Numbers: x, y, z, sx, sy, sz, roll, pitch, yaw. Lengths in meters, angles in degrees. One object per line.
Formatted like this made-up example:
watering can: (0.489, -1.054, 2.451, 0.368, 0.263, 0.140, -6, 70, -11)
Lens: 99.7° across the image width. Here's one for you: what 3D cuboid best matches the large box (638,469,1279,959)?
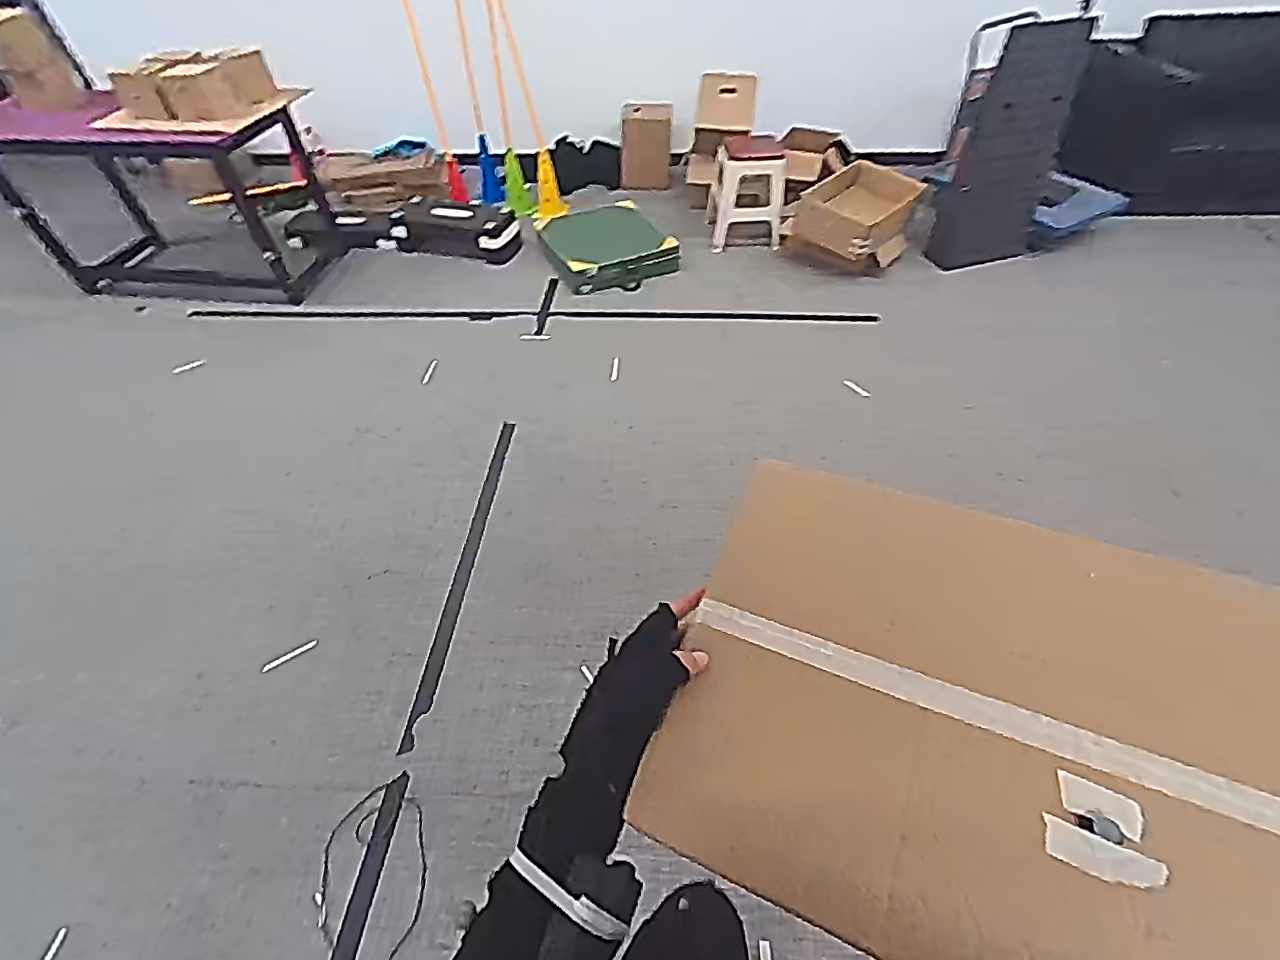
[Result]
large box: (0.254, 0.237, 0.506, 0.408, 0.320, 0.320, 16, 63, 19)
